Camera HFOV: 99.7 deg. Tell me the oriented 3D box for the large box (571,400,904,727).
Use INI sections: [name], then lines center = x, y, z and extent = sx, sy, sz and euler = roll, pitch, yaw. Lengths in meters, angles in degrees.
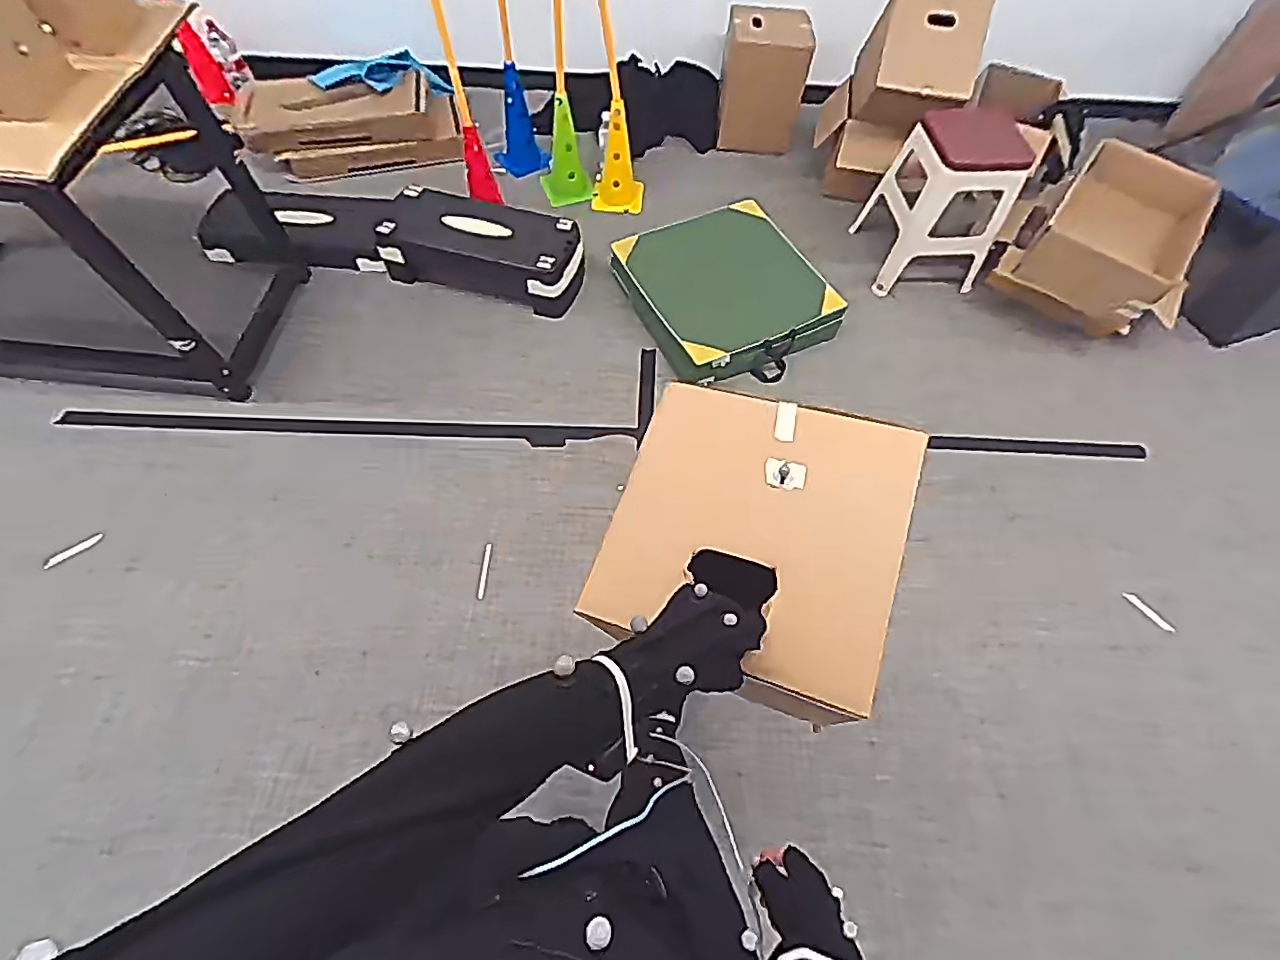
[large box]
center = 0.156, 0.136, 0.774
extent = 0.320, 0.408, 0.320
euler = 16, 70, 21
